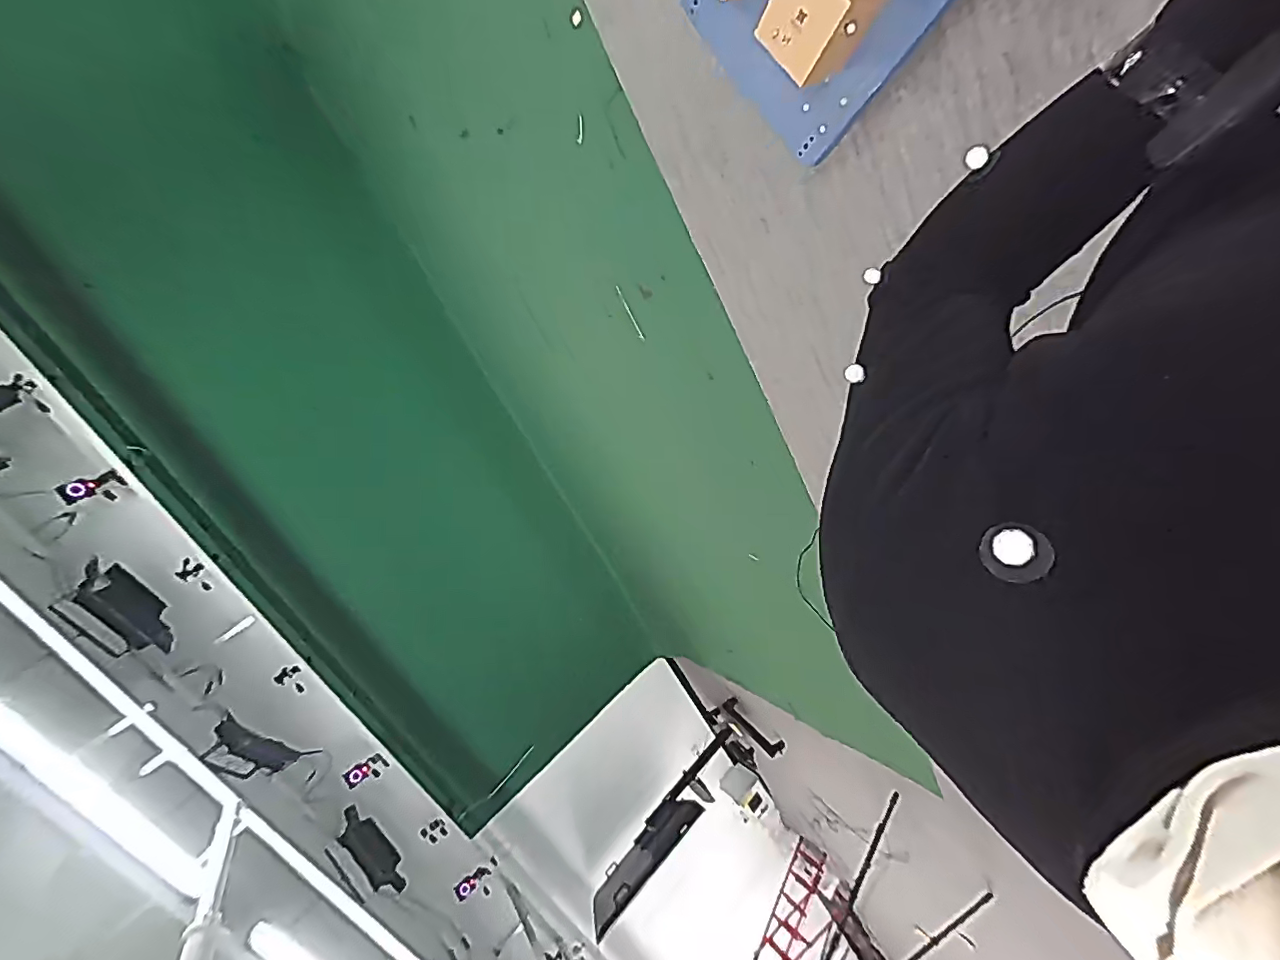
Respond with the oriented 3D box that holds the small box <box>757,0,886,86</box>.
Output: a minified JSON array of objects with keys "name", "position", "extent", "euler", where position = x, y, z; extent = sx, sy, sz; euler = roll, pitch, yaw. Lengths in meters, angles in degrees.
[{"name":"small box","position":[0.394,-1.007,1.159],"extent":[0.168,0.176,0.179],"euler":[51,155,3]}]
